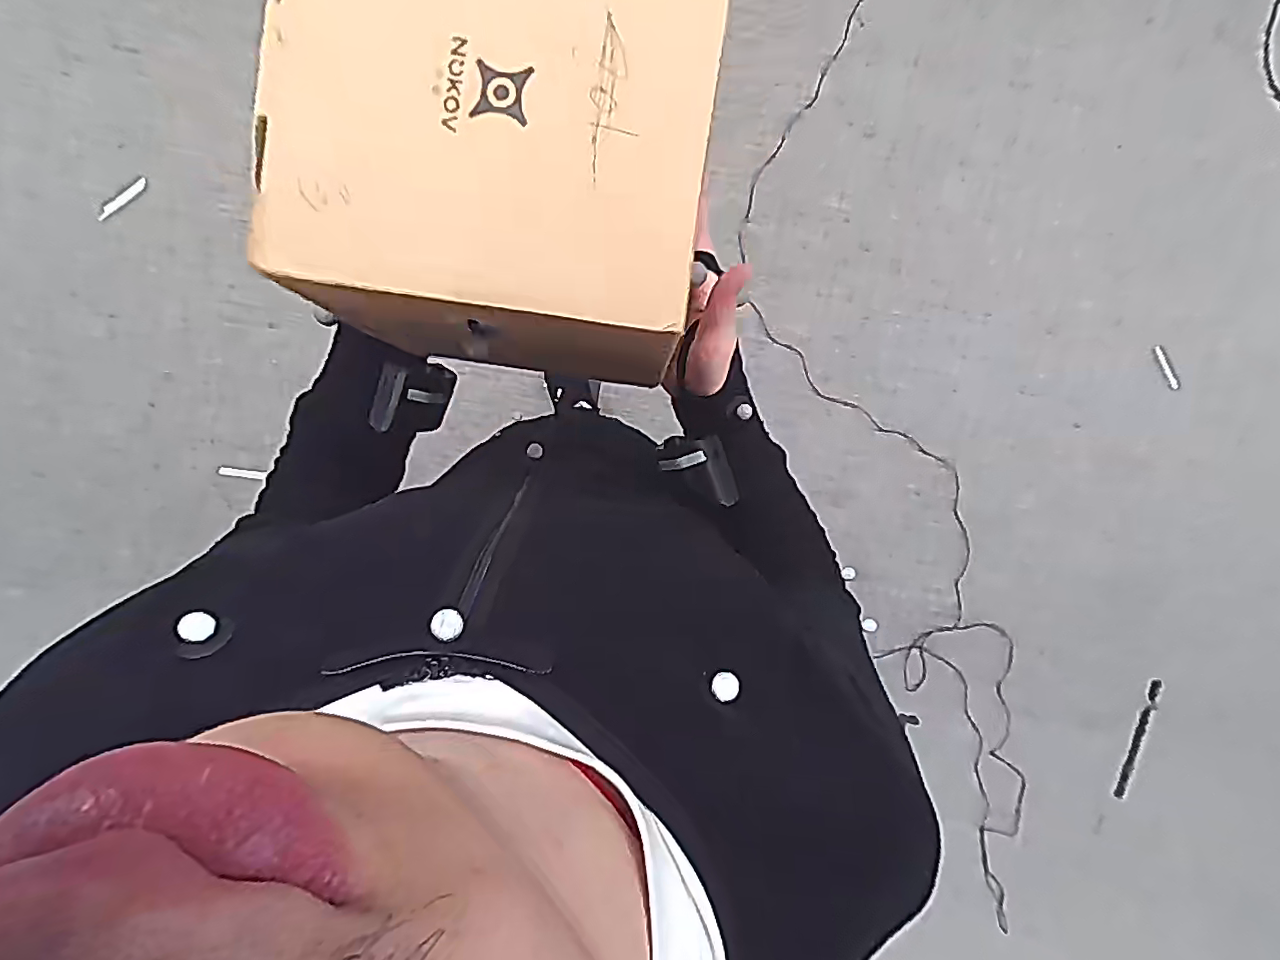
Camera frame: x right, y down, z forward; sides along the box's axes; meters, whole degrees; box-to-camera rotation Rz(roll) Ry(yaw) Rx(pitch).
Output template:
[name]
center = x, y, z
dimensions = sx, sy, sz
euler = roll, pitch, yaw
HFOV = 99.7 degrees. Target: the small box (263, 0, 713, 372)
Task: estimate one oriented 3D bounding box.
[small box]
center = -0.064, -0.161, 0.304
dimensions = 0.179, 0.176, 0.168
euler = 7, 93, -2
